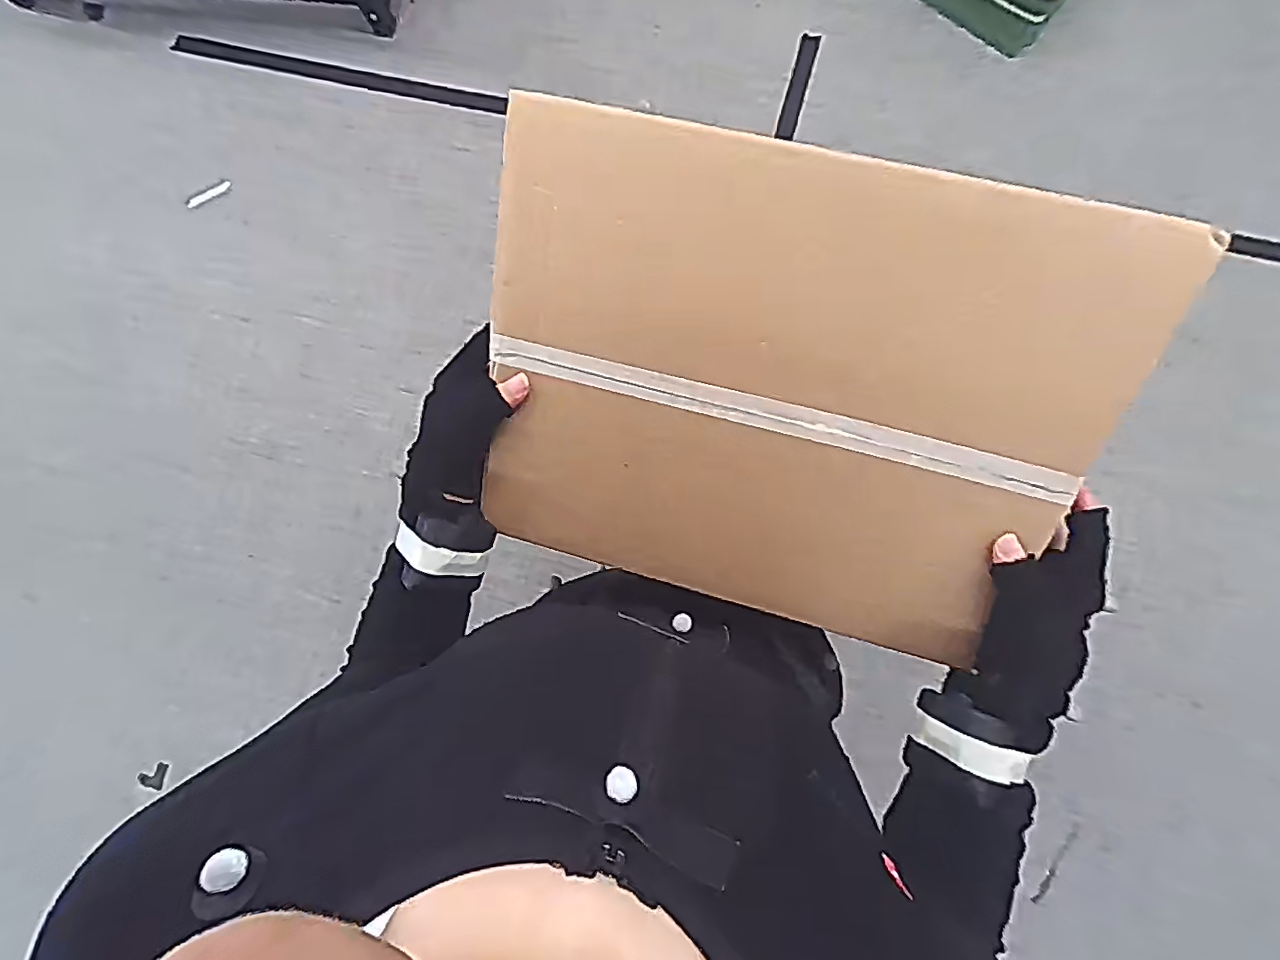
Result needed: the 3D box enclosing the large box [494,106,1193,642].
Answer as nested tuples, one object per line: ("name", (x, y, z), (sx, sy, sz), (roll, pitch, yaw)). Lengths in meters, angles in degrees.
("large box", (0.118, -0.112, 0.516), (0.408, 0.320, 0.320), (15, 116, 6))
